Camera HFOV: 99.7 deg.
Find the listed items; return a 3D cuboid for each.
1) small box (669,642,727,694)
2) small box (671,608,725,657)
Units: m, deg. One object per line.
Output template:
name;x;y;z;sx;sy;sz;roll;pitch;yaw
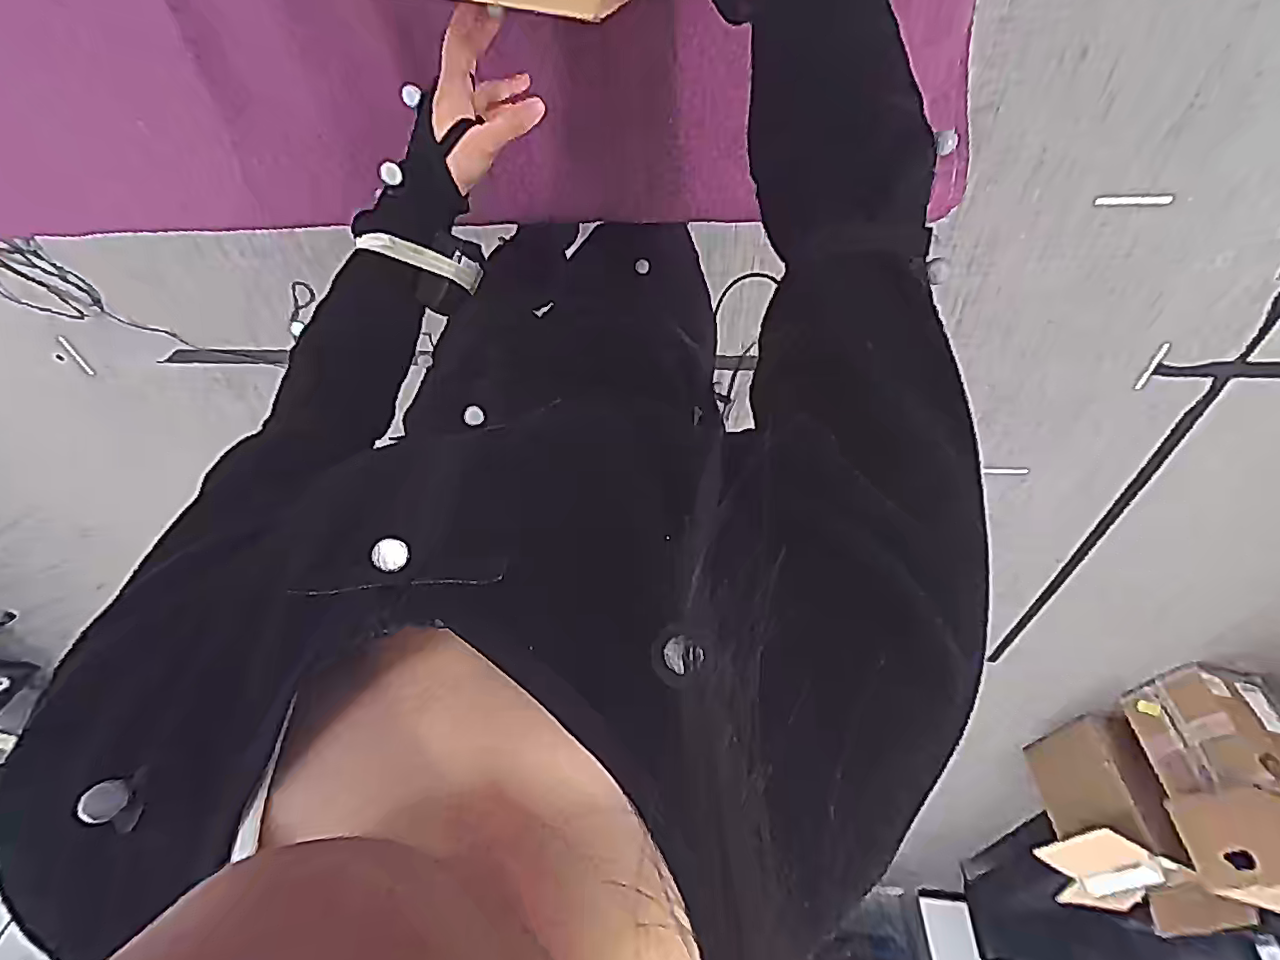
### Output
small box;0.240;0.794;2.225;0.168;0.176;0.179;-34;122;31
small box;0.251;0.679;2.339;0.168;0.176;0.179;-32;124;31
